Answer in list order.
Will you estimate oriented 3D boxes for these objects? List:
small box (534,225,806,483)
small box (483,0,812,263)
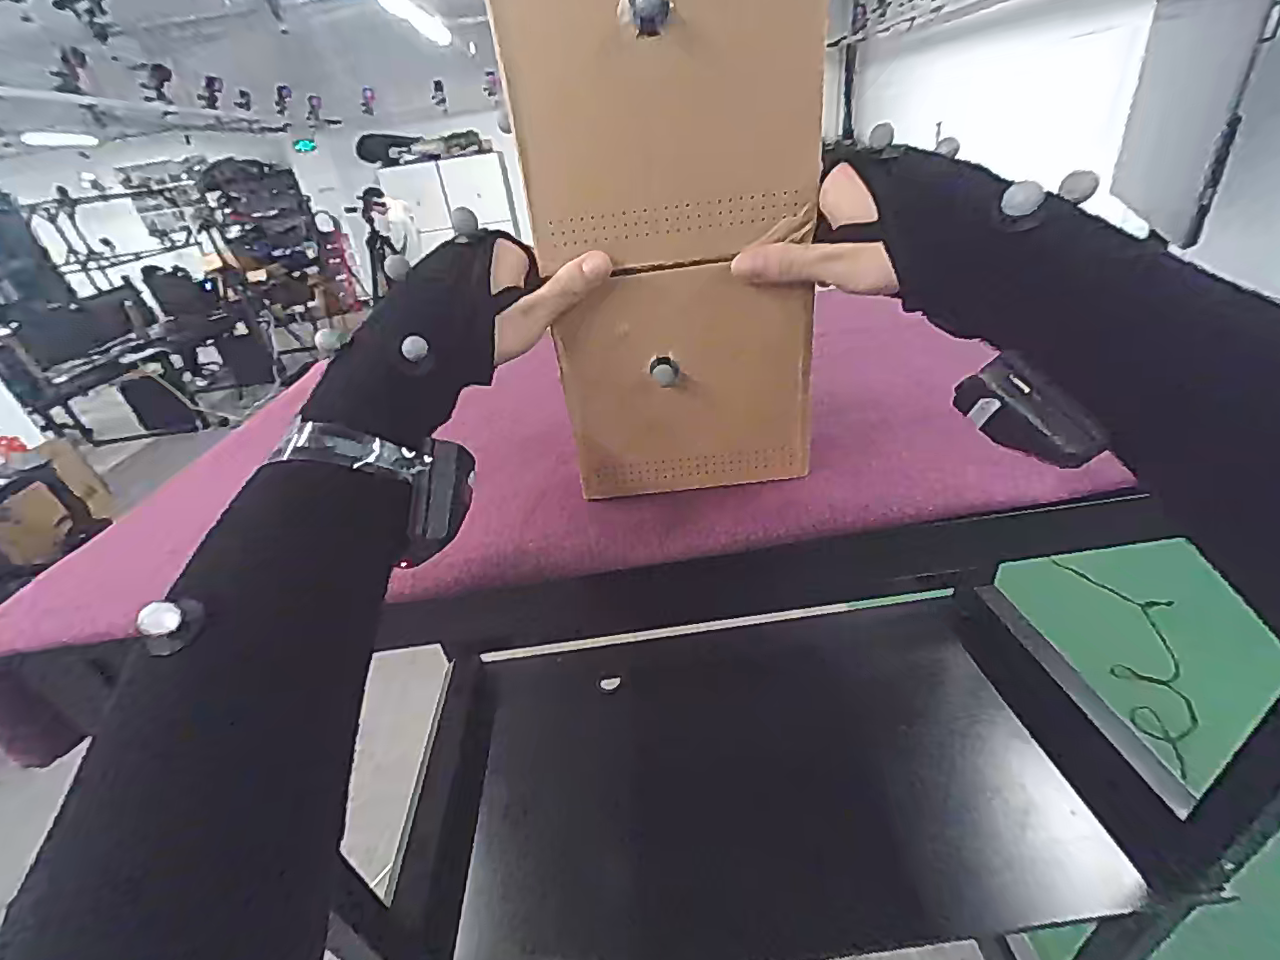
[{"bbox_3d":[0.030,-0.110,0.442,0.179,0.176,0.168,-7,31,4],"label":"small box"},{"bbox_3d":[0.011,-0.250,0.358,0.179,0.176,0.168,-5,31,5],"label":"small box"}]
